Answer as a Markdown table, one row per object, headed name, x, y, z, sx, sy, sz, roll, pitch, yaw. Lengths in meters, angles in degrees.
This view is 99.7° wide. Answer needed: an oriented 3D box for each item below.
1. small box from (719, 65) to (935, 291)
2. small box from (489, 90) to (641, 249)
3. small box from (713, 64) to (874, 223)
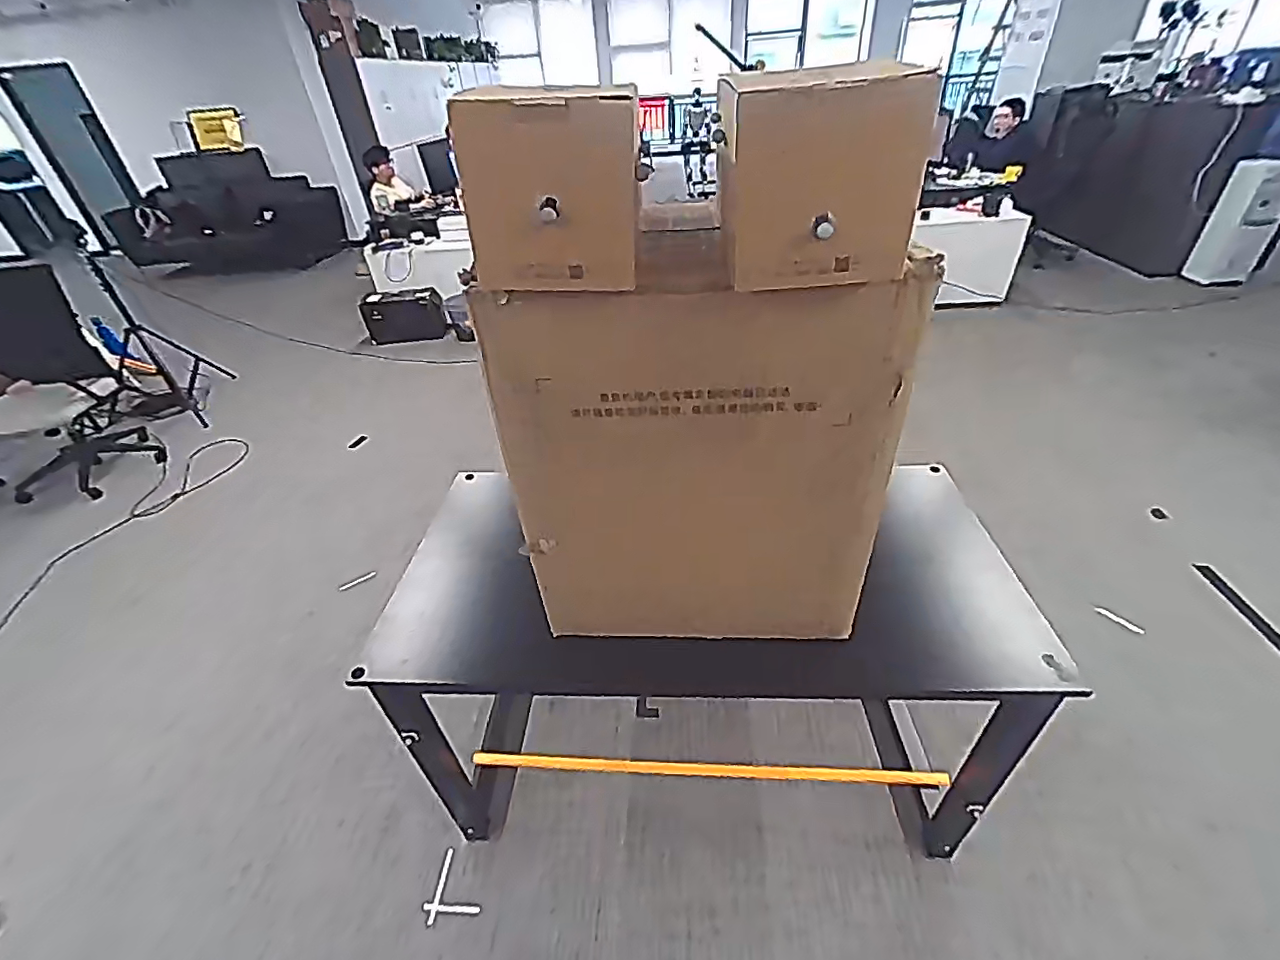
| name | x | y | z | sx | sy | sz | roll | pitch | yaw |
| --- | --- | --- | --- | --- | --- | --- | --- | --- | --- |
| small box | 0.167 | -0.308 | 0.553 | 0.168 | 0.176 | 0.179 | -3 | 39 | 6 |
| small box | -0.088 | -0.422 | 0.737 | 0.168 | 0.176 | 0.179 | -2 | 37 | 4 |
| small box | 0.182 | -0.424 | 0.703 | 0.168 | 0.176 | 0.179 | -3 | 36 | 5 |
